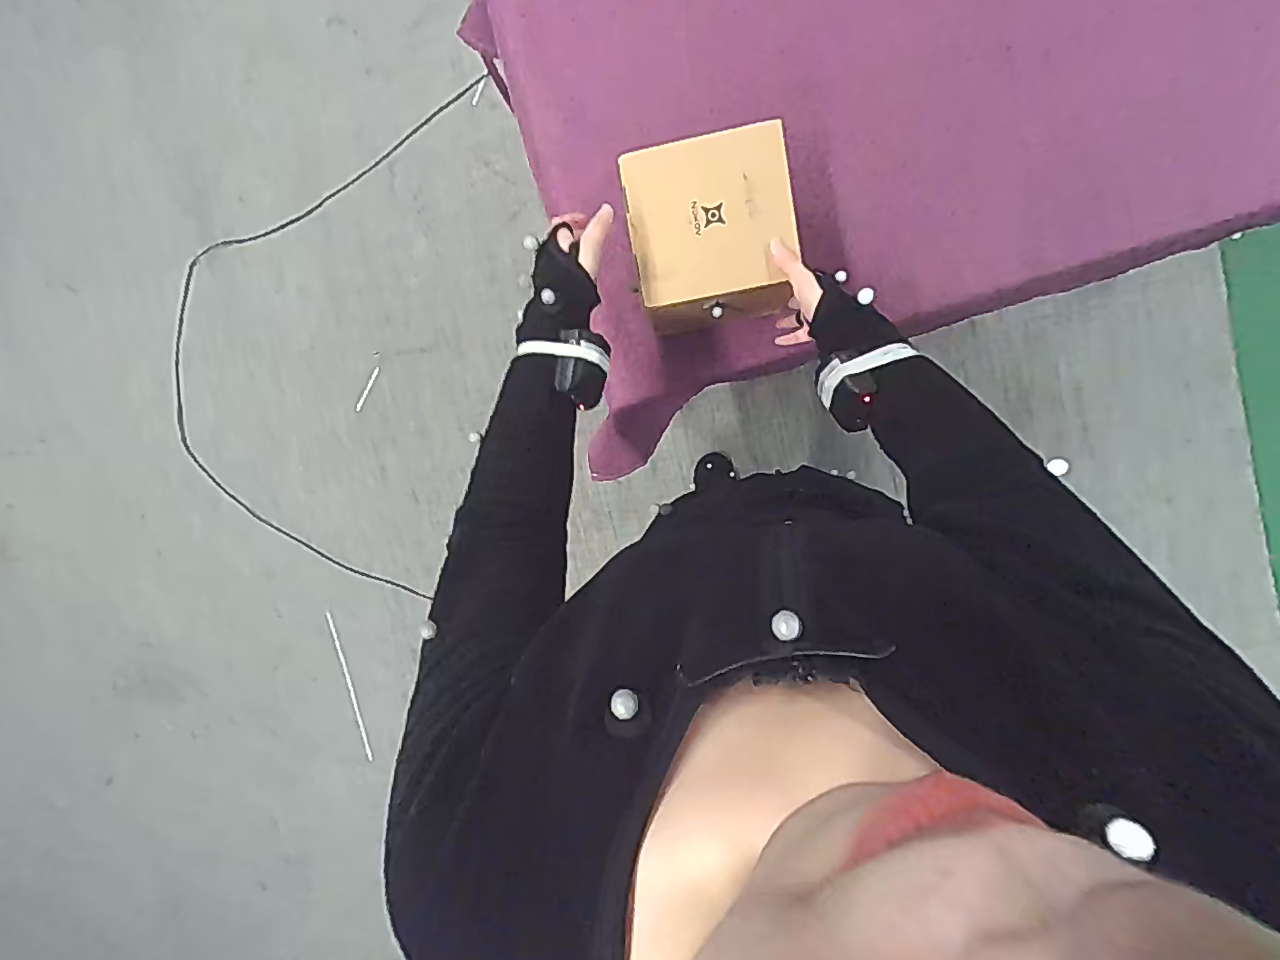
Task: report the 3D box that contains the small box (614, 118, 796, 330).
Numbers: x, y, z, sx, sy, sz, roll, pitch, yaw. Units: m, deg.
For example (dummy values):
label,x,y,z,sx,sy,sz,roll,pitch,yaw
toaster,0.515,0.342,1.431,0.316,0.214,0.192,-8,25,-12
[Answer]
label,x,y,z,sx,sy,sz,roll,pitch,yaw
small box,0.078,-0.288,0.652,0.179,0.176,0.168,-9,94,7
